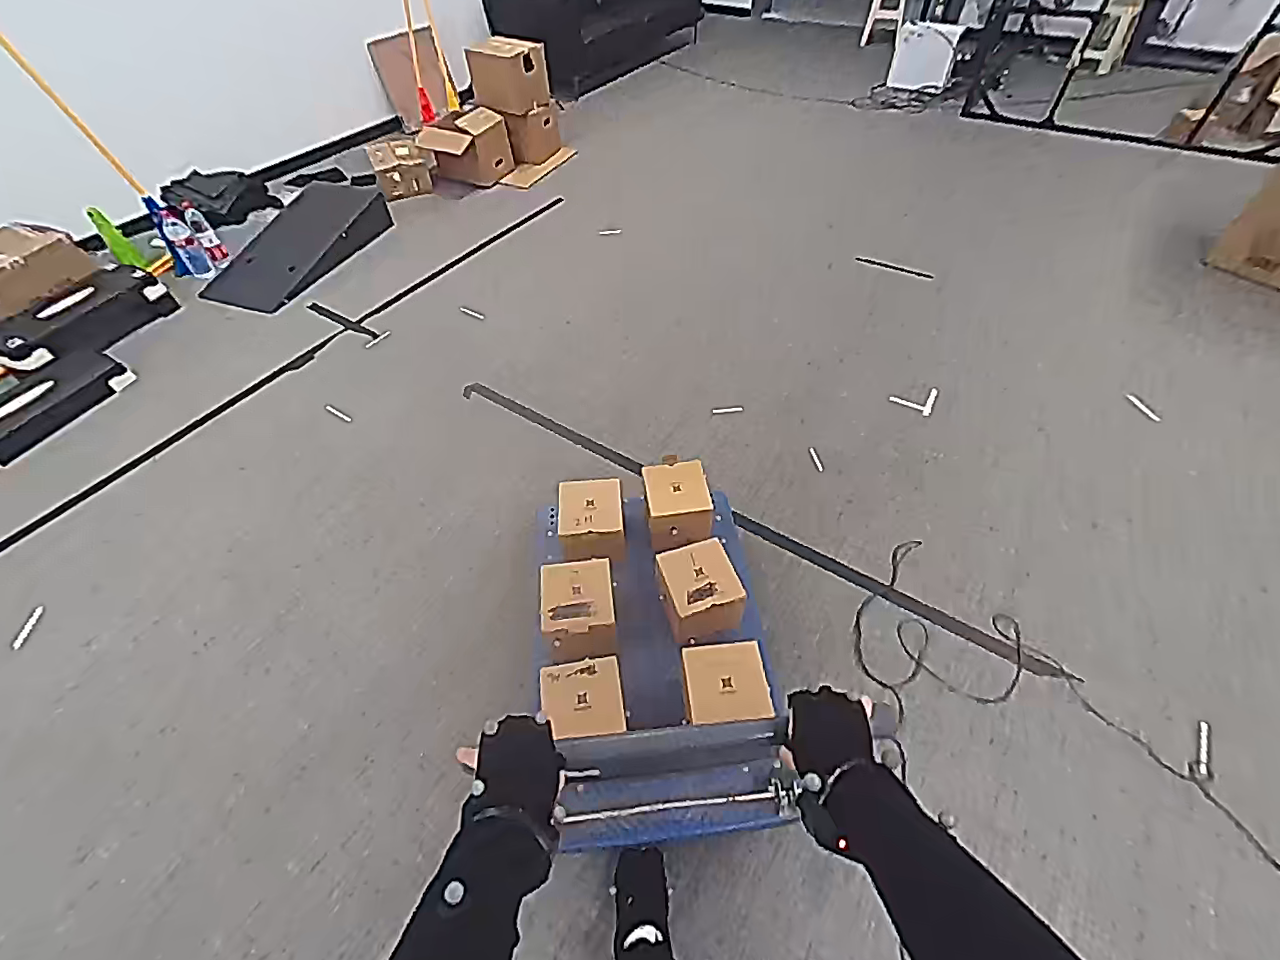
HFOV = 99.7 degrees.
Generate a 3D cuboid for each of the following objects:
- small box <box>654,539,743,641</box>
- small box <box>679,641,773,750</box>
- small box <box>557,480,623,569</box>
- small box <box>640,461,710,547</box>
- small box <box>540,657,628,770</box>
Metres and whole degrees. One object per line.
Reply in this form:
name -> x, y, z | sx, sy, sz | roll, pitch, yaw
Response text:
small box -> 0.139, 0.279, 1.340 | 0.168, 0.176, 0.179 | -15, 50, -11
small box -> 0.179, 0.474, 1.175 | 0.168, 0.176, 0.179 | -5, 49, -3
small box -> -0.133, 0.122, 1.477 | 0.168, 0.176, 0.179 | -4, 51, -2
small box -> 0.094, 0.074, 1.515 | 0.168, 0.176, 0.179 | -8, 50, -5
small box -> -0.117, 0.504, 1.155 | 0.168, 0.176, 0.179 | -7, 50, -6
